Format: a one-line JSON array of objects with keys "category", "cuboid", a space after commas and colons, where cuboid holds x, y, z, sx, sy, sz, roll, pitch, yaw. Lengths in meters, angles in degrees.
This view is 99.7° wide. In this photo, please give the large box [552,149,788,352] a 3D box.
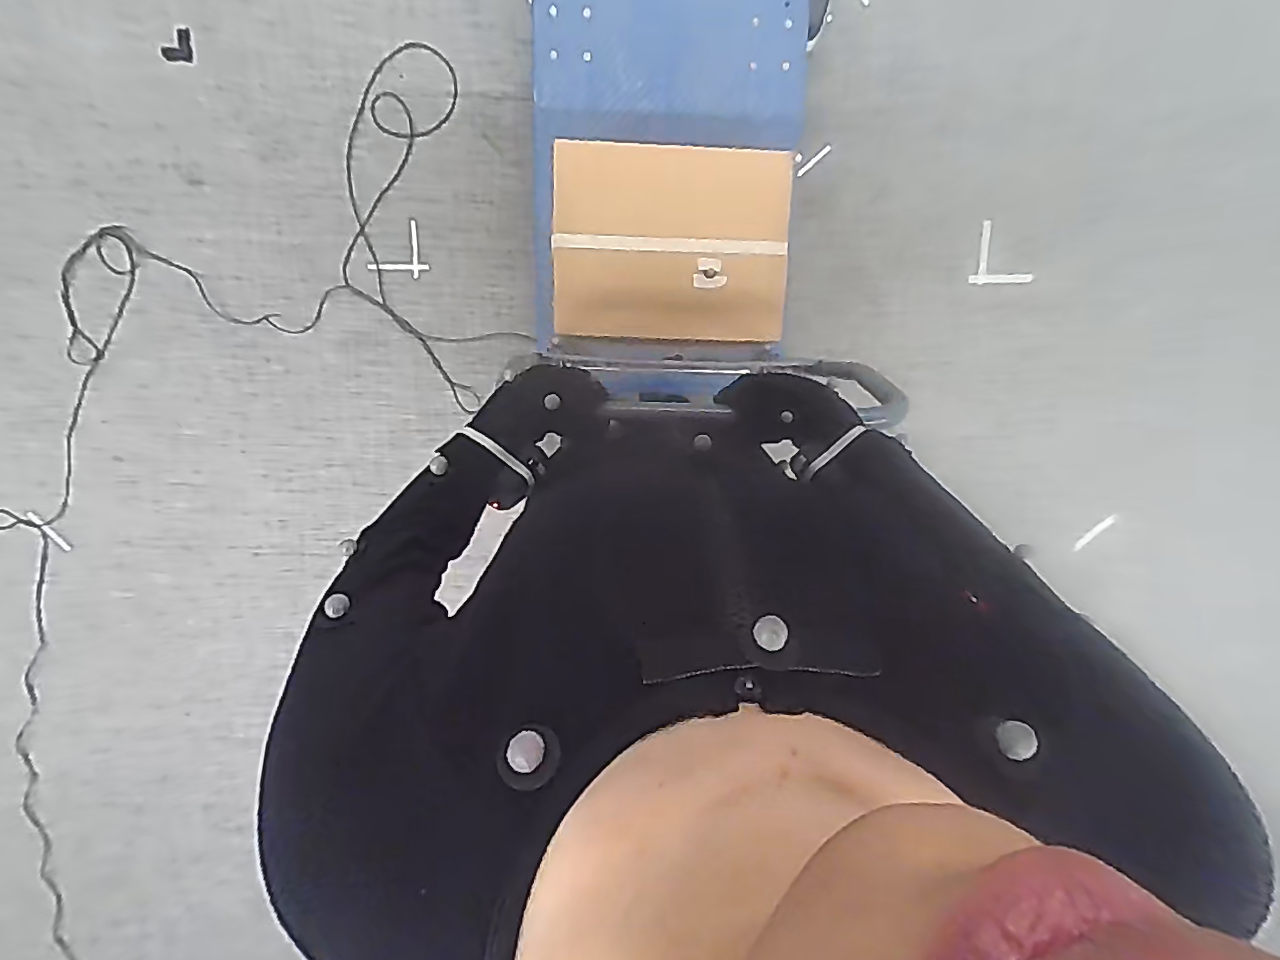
[{"category": "large box", "cuboid": [0.041, -0.421, 1.074, 0.408, 0.320, 0.320, 1, 101, -4]}]
